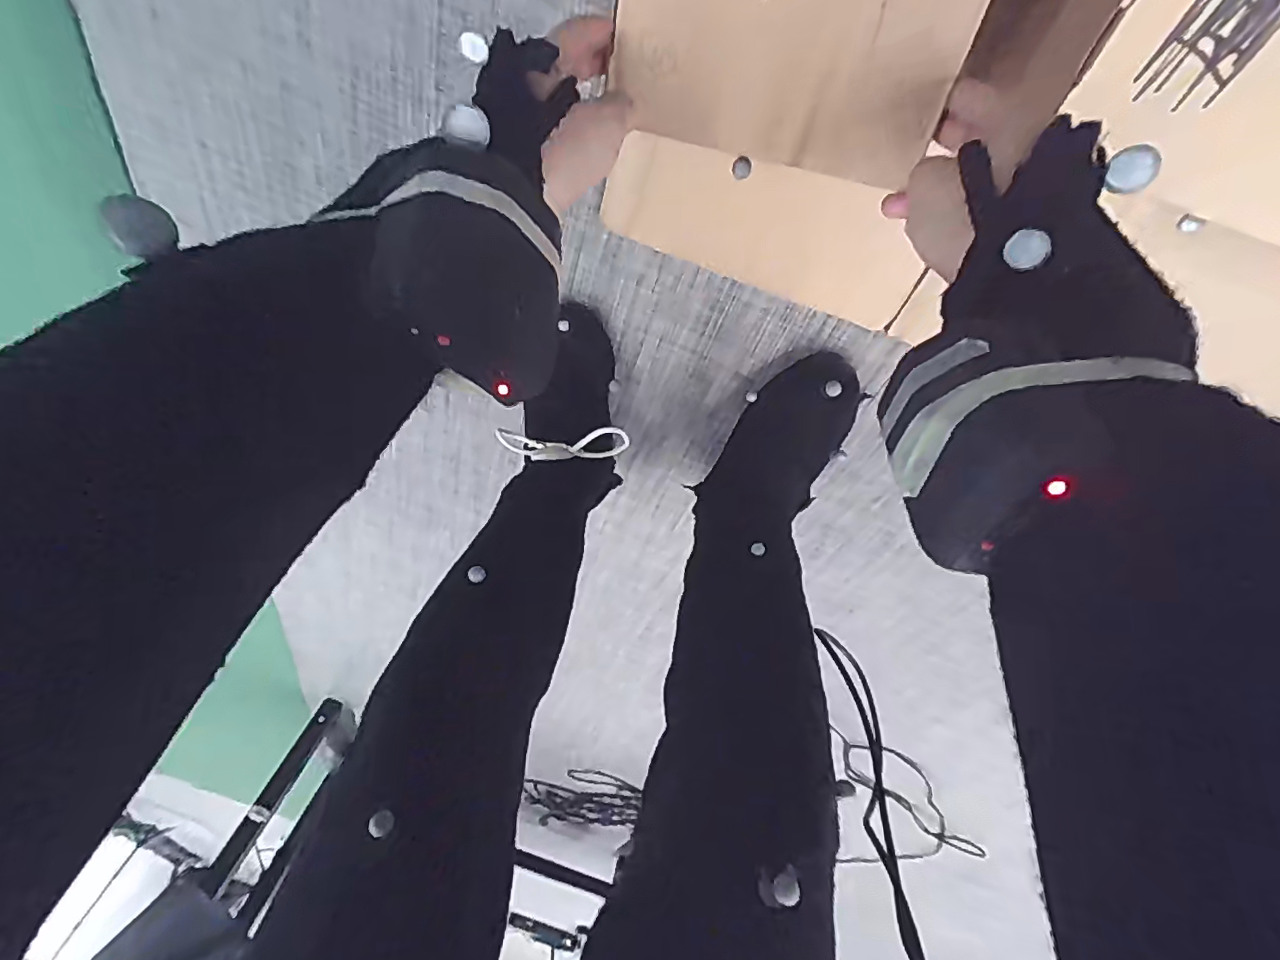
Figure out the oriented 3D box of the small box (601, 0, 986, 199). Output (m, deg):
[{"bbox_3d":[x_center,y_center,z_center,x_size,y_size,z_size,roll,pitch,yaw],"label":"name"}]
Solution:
[{"bbox_3d":[0.090,-0.281,0.318,0.179,0.176,0.168,14,125,4],"label":"small box"}]
